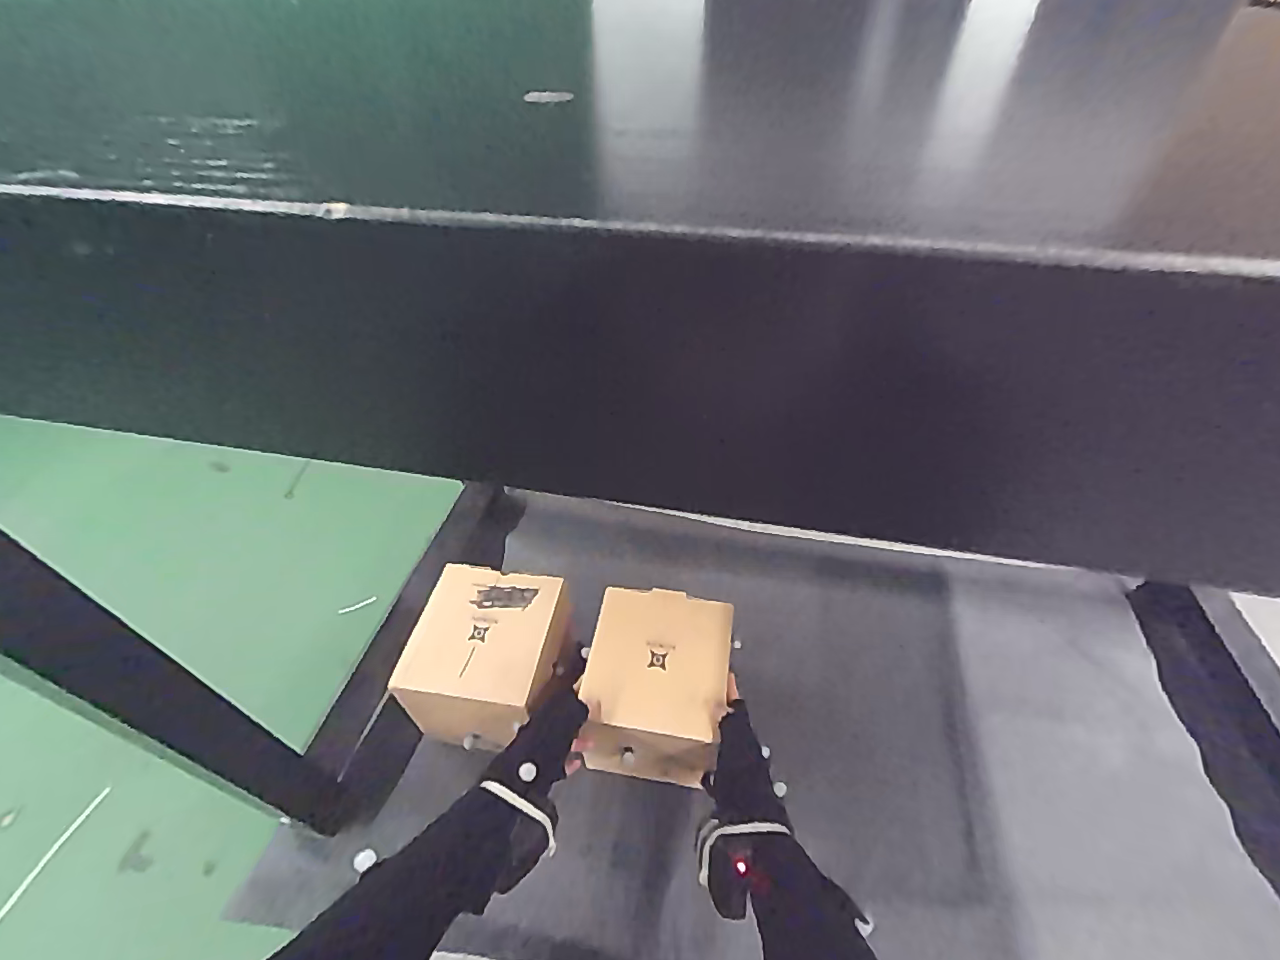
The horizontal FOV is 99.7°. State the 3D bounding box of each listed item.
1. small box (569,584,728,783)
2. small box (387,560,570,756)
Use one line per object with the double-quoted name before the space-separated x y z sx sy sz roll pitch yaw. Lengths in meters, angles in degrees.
"small box" 0.020 0.260 0.691 0.168 0.176 0.179 6 44 8
"small box" -0.195 0.235 0.718 0.168 0.176 0.179 6 45 8
